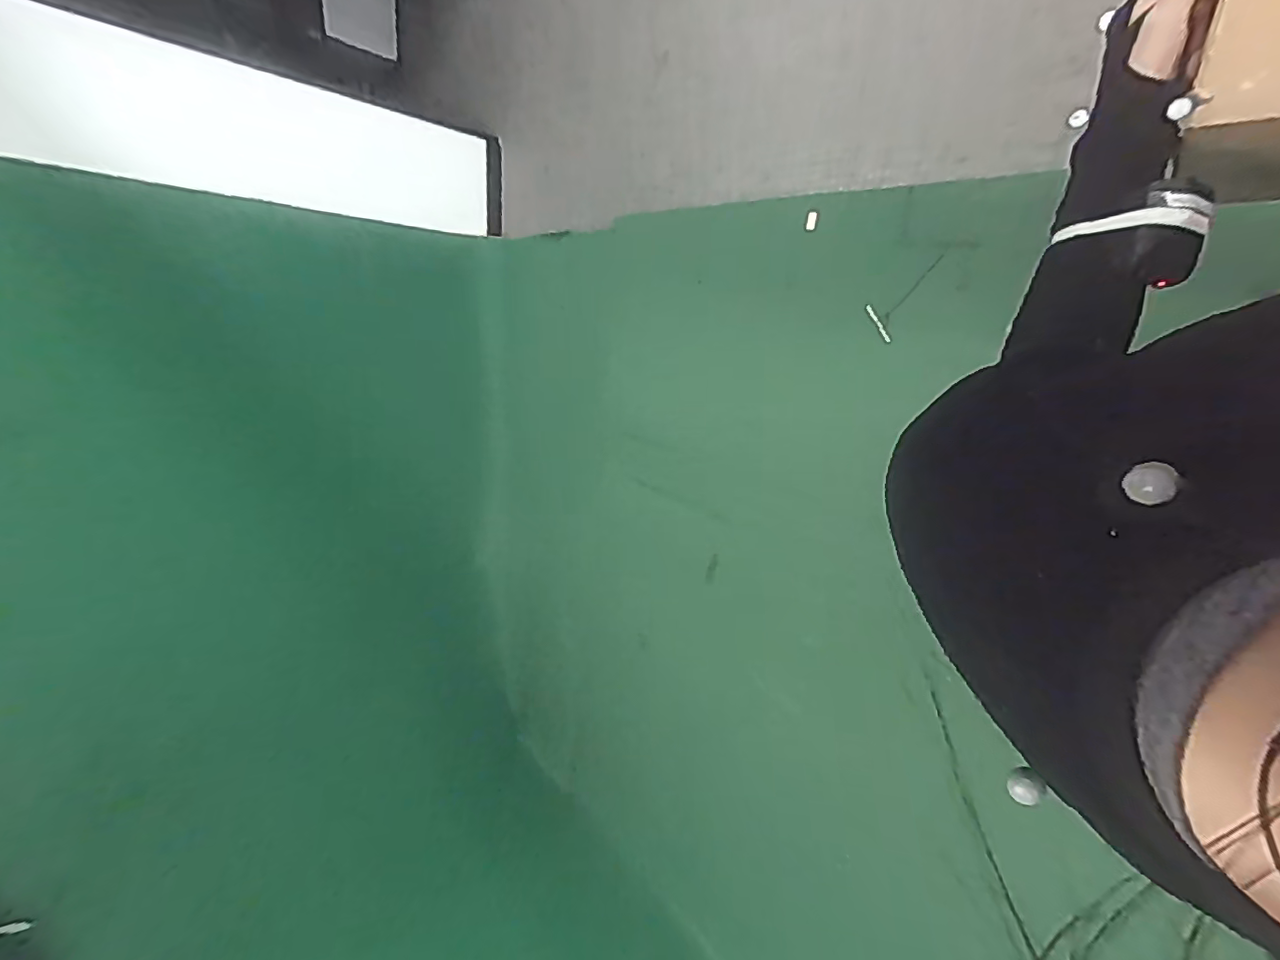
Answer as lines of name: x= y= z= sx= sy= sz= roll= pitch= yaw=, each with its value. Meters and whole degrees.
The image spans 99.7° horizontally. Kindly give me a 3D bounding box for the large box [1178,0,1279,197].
large box: x=0.628 y=-0.373 z=0.306 sx=0.408 sy=0.320 sz=0.320 roll=18 pitch=112 yaw=40
